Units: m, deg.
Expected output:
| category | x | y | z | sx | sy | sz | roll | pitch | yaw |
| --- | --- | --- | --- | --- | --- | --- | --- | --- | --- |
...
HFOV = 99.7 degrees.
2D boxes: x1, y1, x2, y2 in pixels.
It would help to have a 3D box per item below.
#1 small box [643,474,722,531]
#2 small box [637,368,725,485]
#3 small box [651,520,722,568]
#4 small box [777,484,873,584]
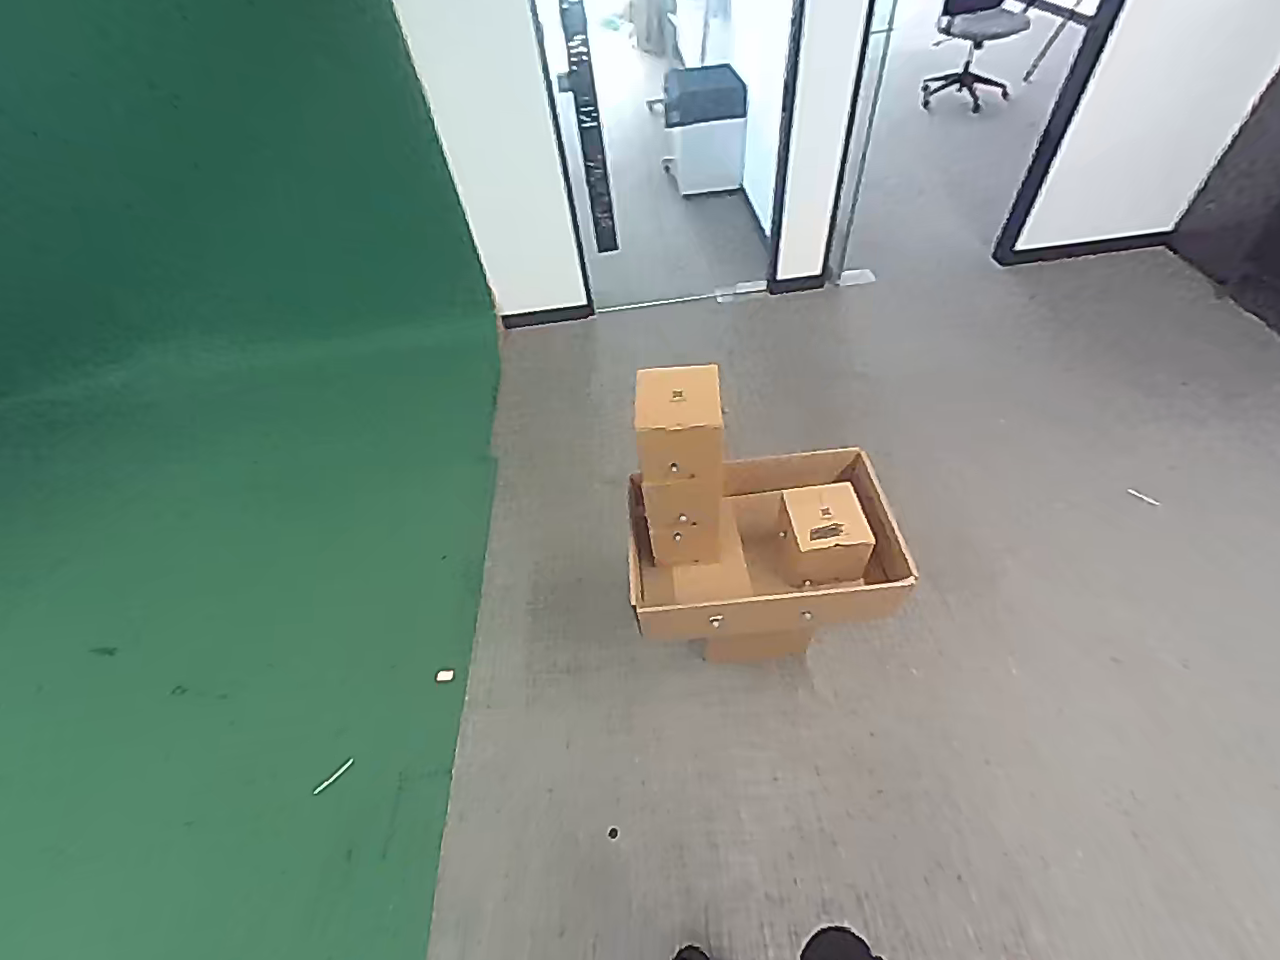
| category | x | y | z | sx | sy | sz | roll | pitch | yaw |
| --- | --- | --- | --- | --- | --- | --- | --- | --- | --- |
| small box | 0.097 | -0.003 | 1.235 | 0.168 | 0.176 | 0.179 | -4 | 50 | 5 |
| small box | 0.084 | -0.108 | 1.111 | 0.168 | 0.176 | 0.179 | -2 | 50 | 5 |
| small box | 0.111 | 0.101 | 1.360 | 0.168 | 0.176 | 0.179 | -5 | 50 | 3 |
| small box | 0.431 | 0.136 | 1.288 | 0.168 | 0.176 | 0.179 | -6 | 49 | 2 |
